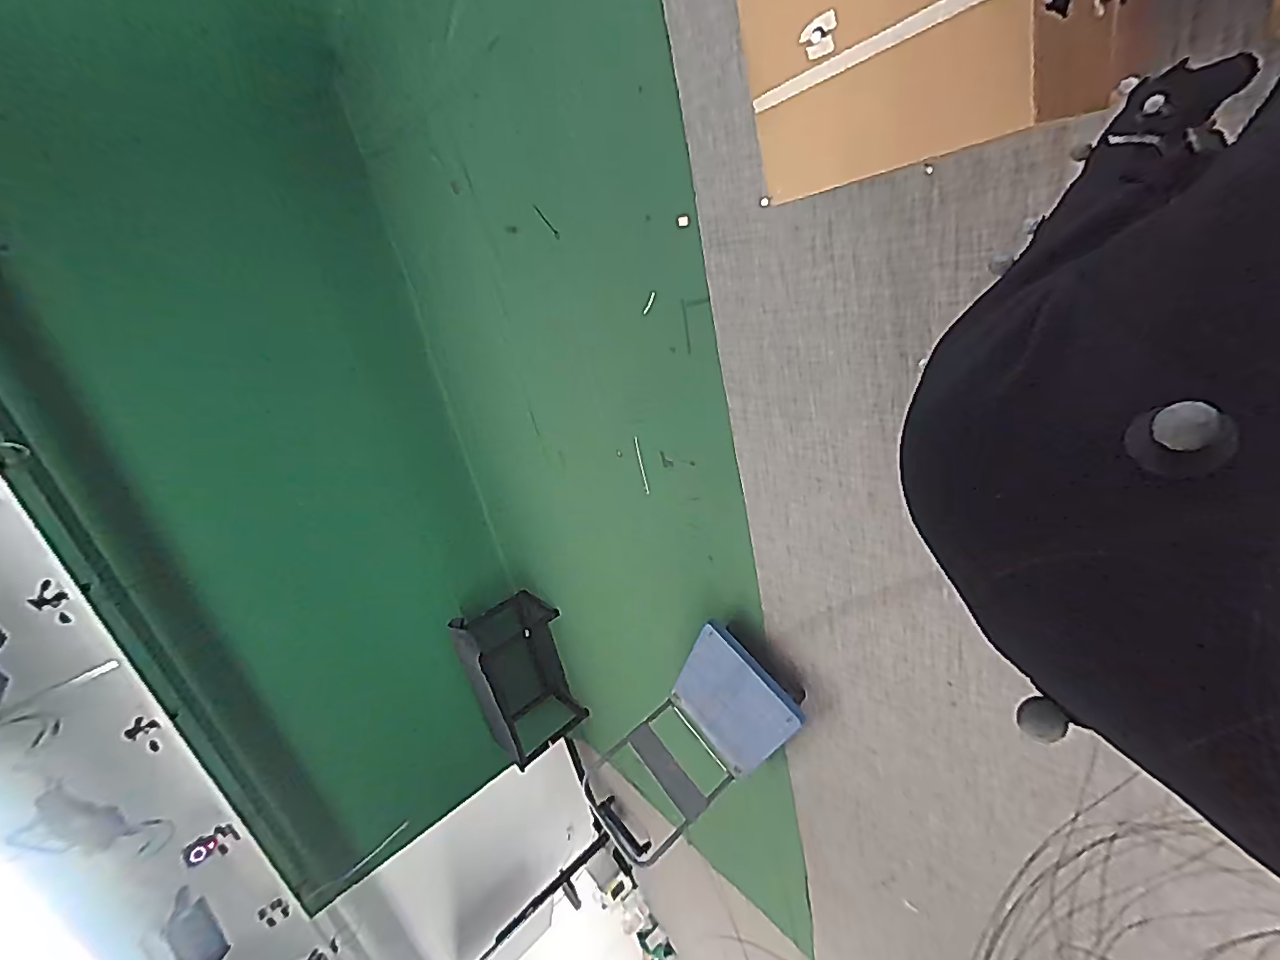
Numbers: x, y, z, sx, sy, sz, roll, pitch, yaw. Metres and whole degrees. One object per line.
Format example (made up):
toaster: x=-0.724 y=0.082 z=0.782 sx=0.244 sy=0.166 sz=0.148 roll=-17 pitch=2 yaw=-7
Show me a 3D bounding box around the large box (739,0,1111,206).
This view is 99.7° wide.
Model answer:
large box: x=0.427 y=-0.663 z=0.832 sx=0.408 sy=0.320 sz=0.320 roll=15 pitch=127 yaw=52
